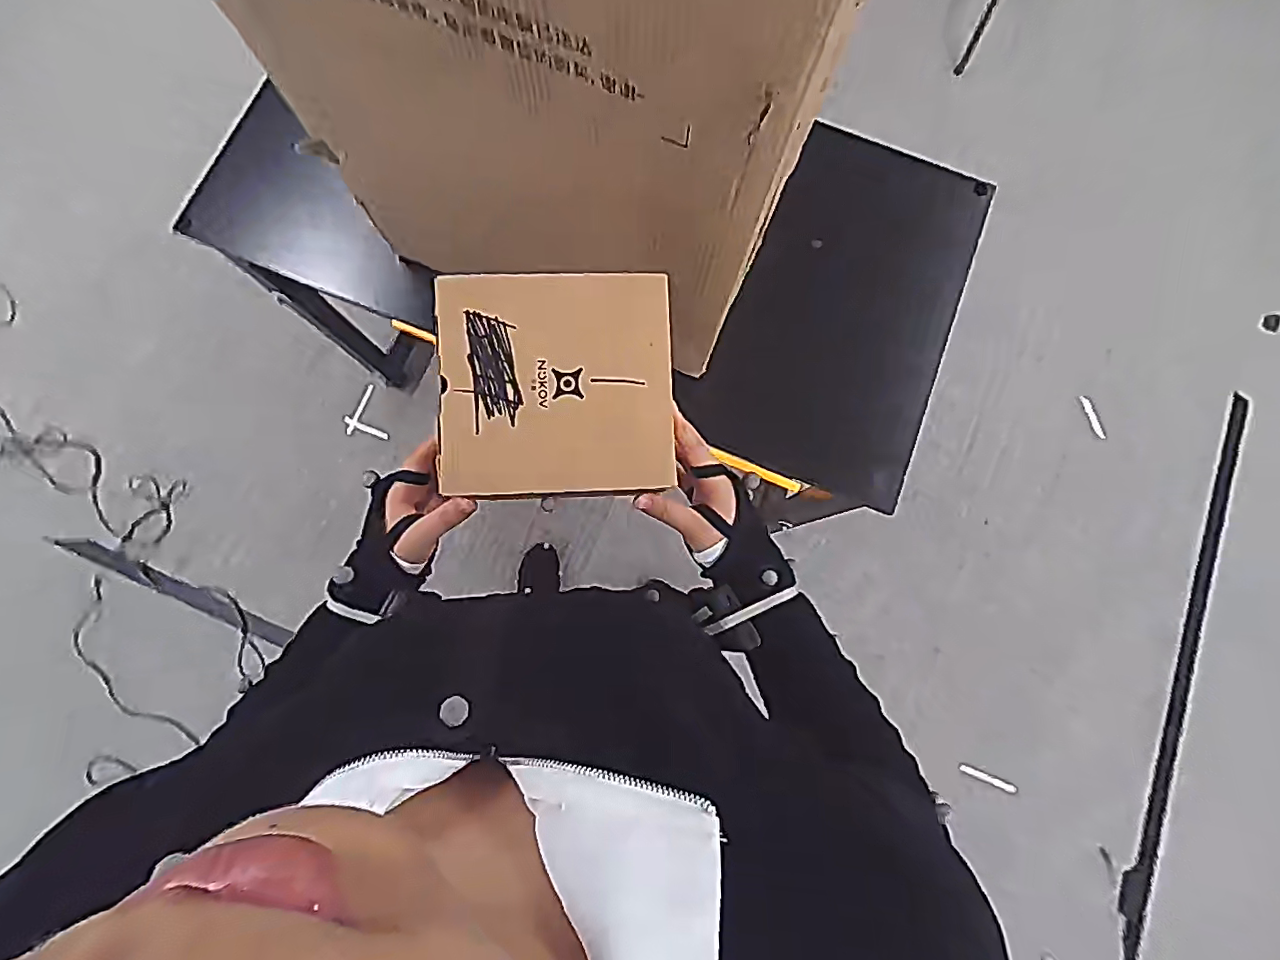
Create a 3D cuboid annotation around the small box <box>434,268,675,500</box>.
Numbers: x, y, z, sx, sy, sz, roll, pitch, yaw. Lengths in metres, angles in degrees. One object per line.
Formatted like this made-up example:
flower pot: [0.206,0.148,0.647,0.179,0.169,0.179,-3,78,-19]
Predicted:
small box: [-0.066,-0.068,0.475,0.179,0.176,0.168,-1,86,-5]
